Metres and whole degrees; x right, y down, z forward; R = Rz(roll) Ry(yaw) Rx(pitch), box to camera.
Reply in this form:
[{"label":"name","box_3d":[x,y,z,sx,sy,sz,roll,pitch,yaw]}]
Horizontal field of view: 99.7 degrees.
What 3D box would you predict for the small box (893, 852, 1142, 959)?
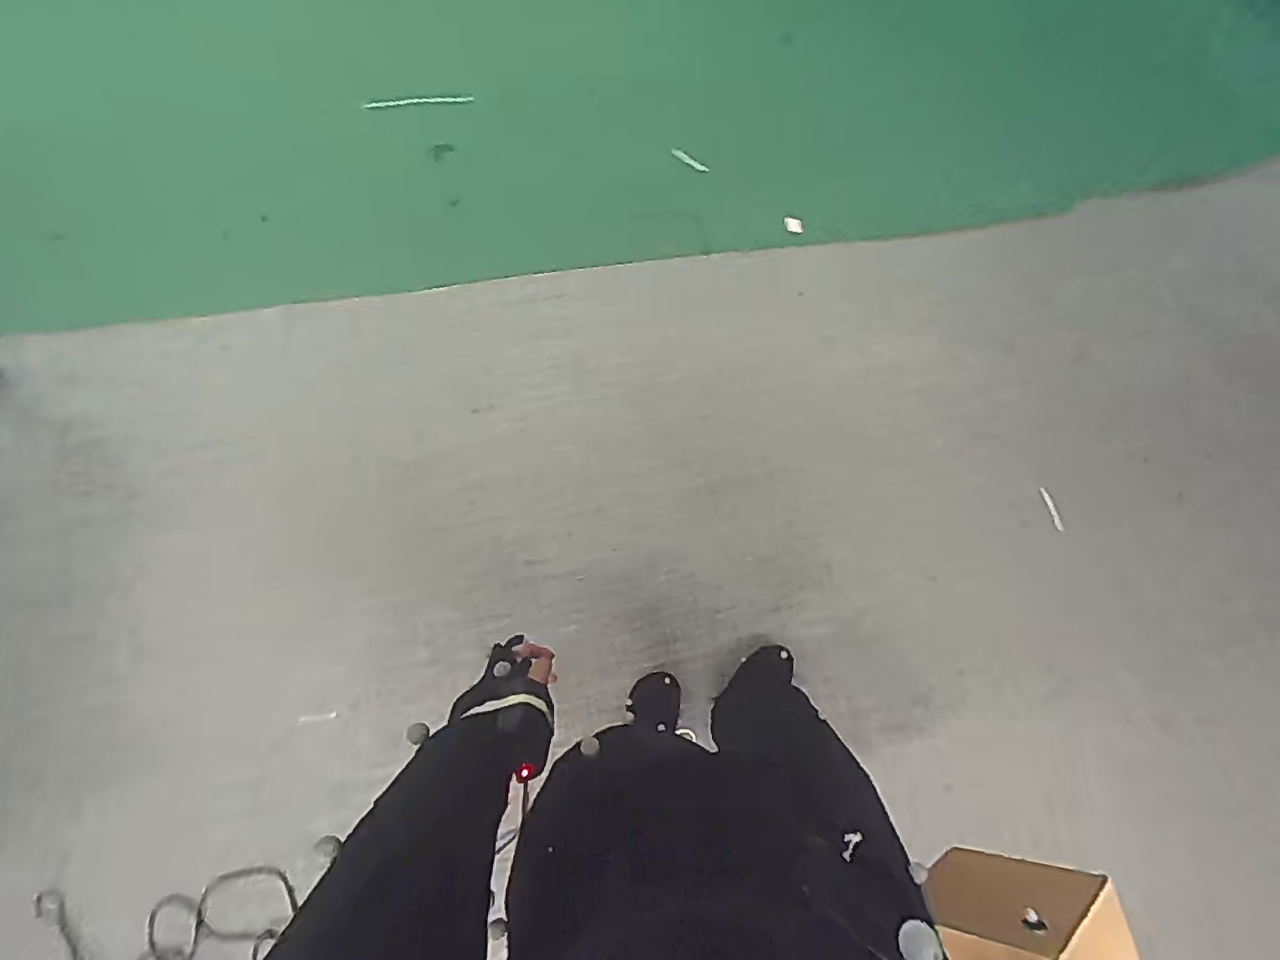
[{"label":"small box","box_3d":[0.399,0.519,0.560,0.179,0.176,0.168,0,71,-37]}]
